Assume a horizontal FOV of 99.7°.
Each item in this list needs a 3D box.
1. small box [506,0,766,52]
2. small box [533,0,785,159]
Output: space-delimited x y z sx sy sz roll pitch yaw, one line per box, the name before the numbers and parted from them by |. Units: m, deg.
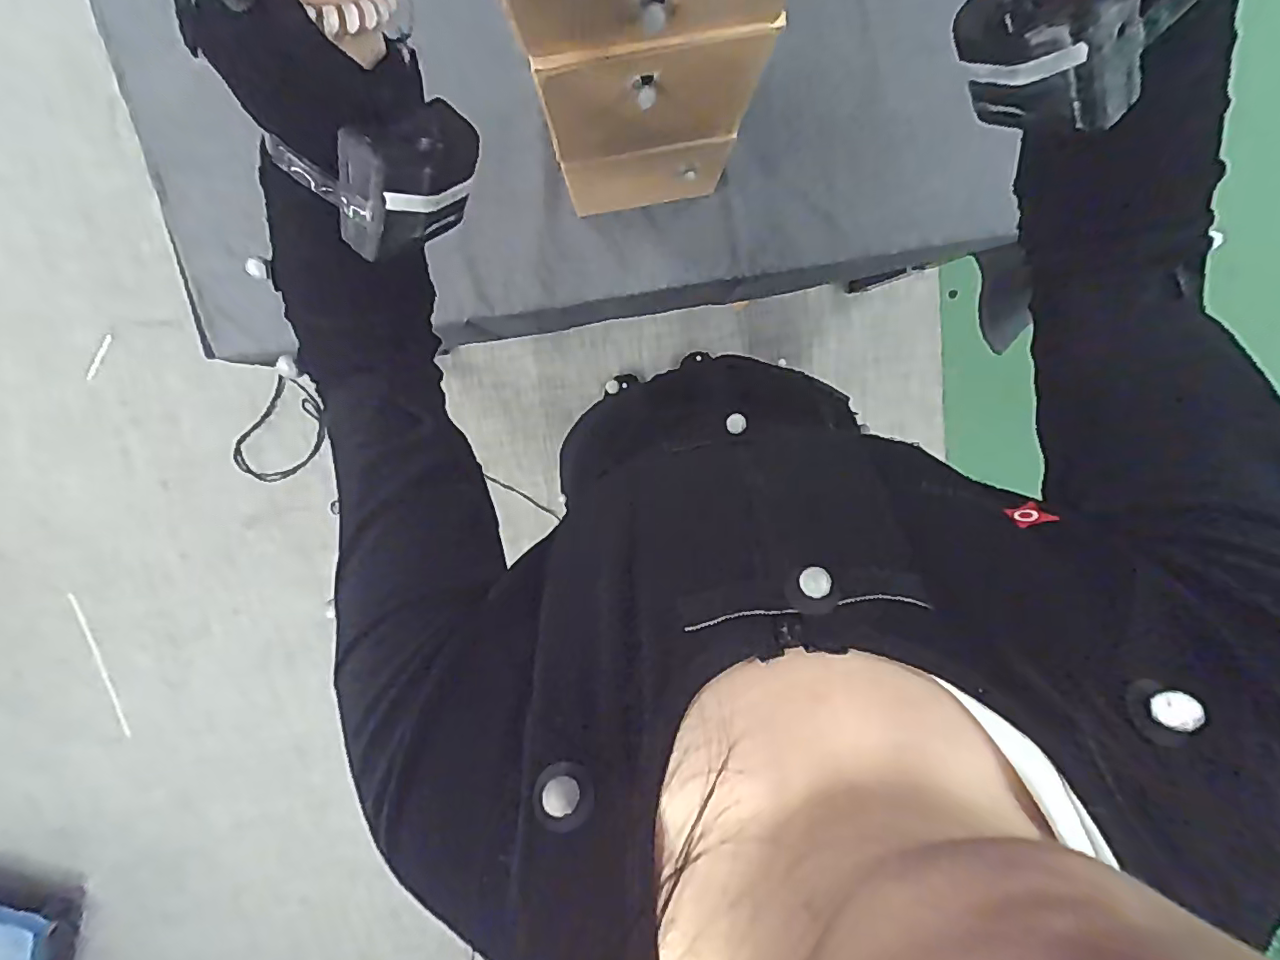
small box | -0.001 -0.359 0.270 0.179 0.176 0.168 -7 100 1
small box | 0.001 -0.386 0.433 0.179 0.176 0.168 -9 101 2
